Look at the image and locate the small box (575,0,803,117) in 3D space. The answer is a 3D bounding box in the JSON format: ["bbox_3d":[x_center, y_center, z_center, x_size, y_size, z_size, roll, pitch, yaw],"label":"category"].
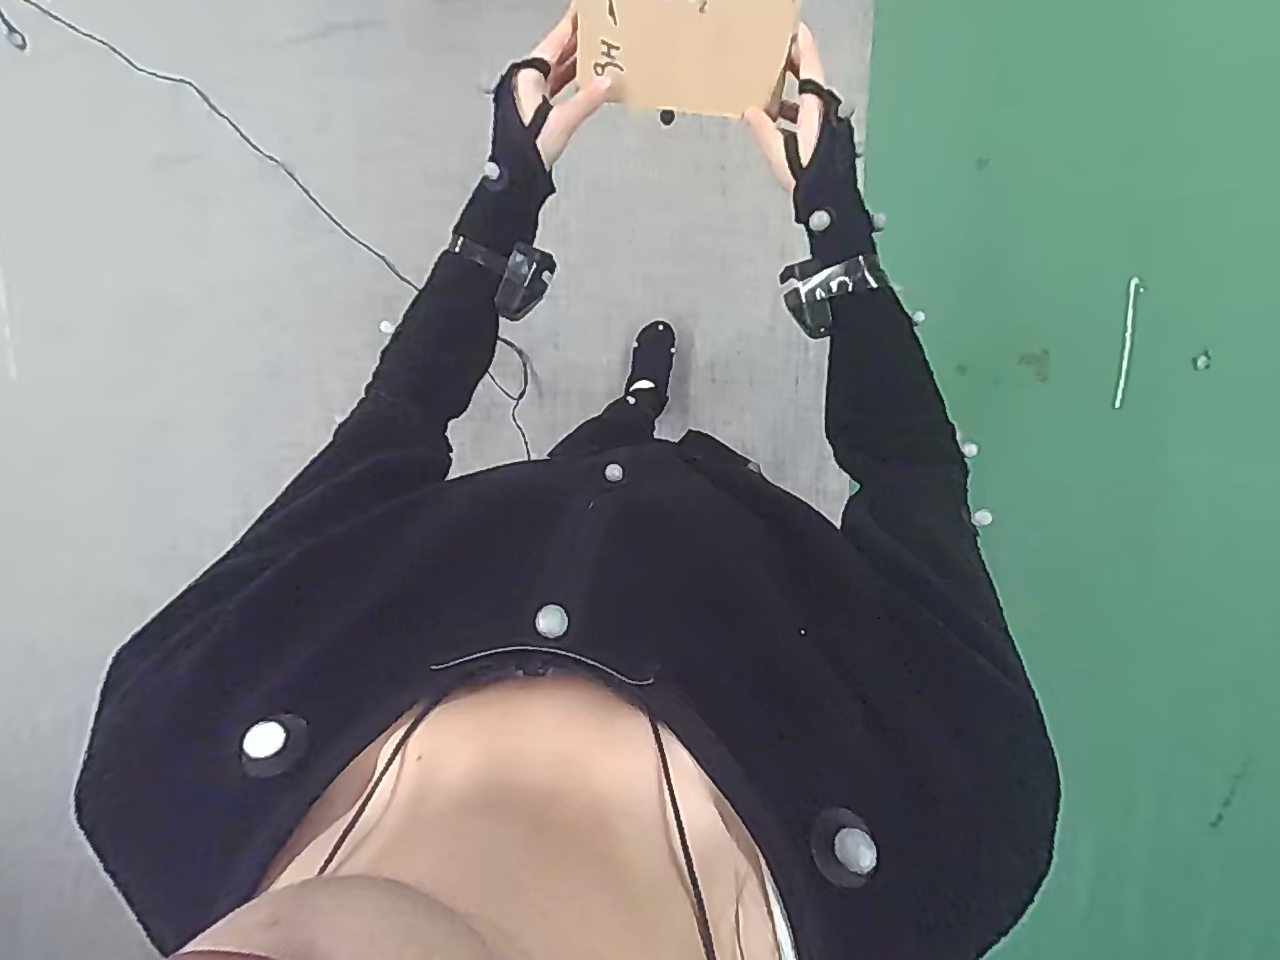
[{"bbox_3d":[0.039,-0.430,0.471,0.179,0.176,0.168,4,126,-5],"label":"small box"}]
